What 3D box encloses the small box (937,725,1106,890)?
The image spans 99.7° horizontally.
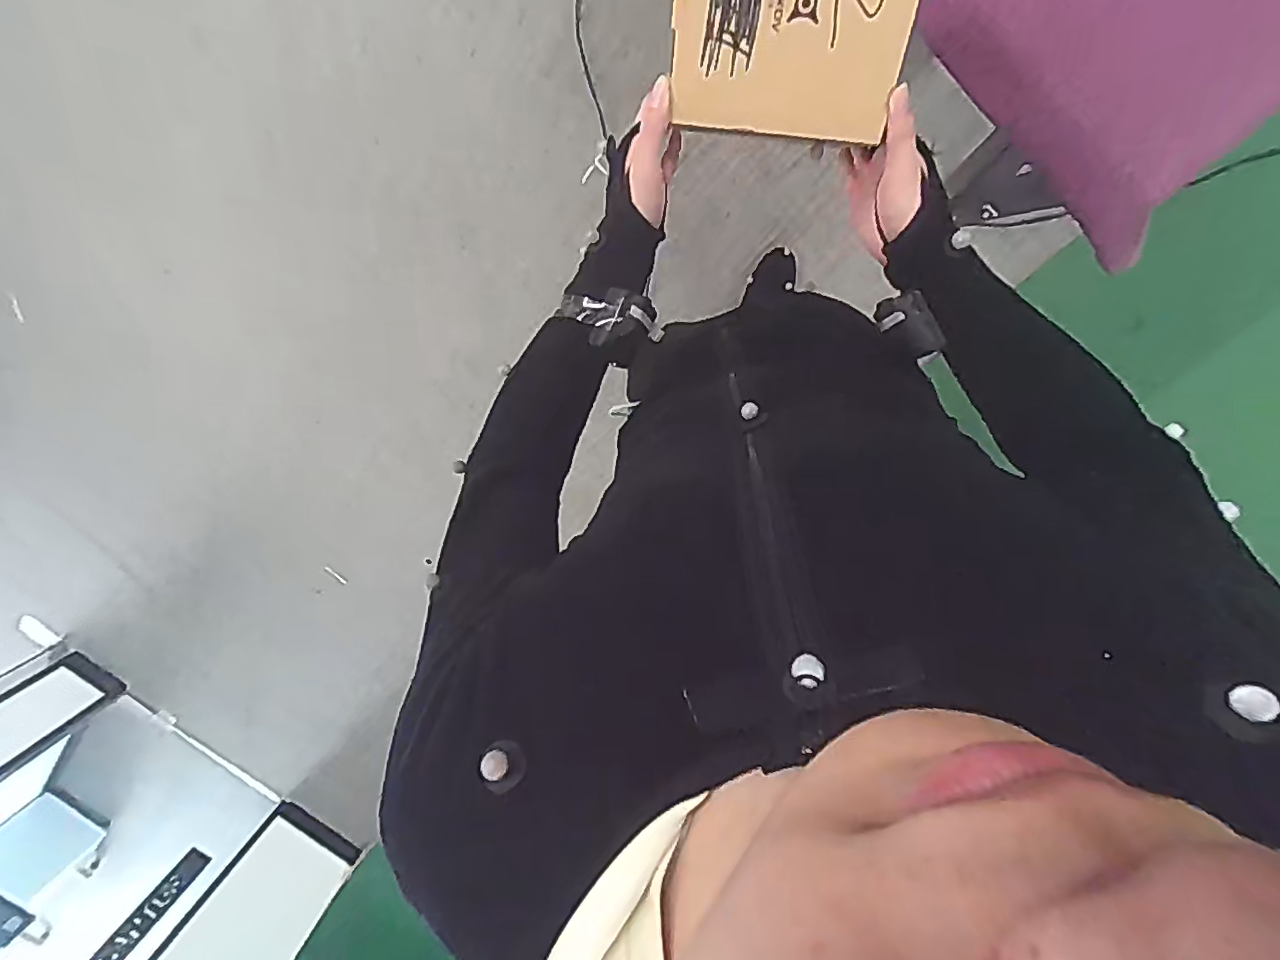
[{"bbox_3d":[0.696,0.609,1.018,0.168,0.176,0.179,34,112,-4],"label":"small box"}]

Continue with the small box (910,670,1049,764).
[{"bbox_3d":[0.720,0.539,1.165,0.179,0.176,0.168,42,113,-6],"label":"small box"}]
